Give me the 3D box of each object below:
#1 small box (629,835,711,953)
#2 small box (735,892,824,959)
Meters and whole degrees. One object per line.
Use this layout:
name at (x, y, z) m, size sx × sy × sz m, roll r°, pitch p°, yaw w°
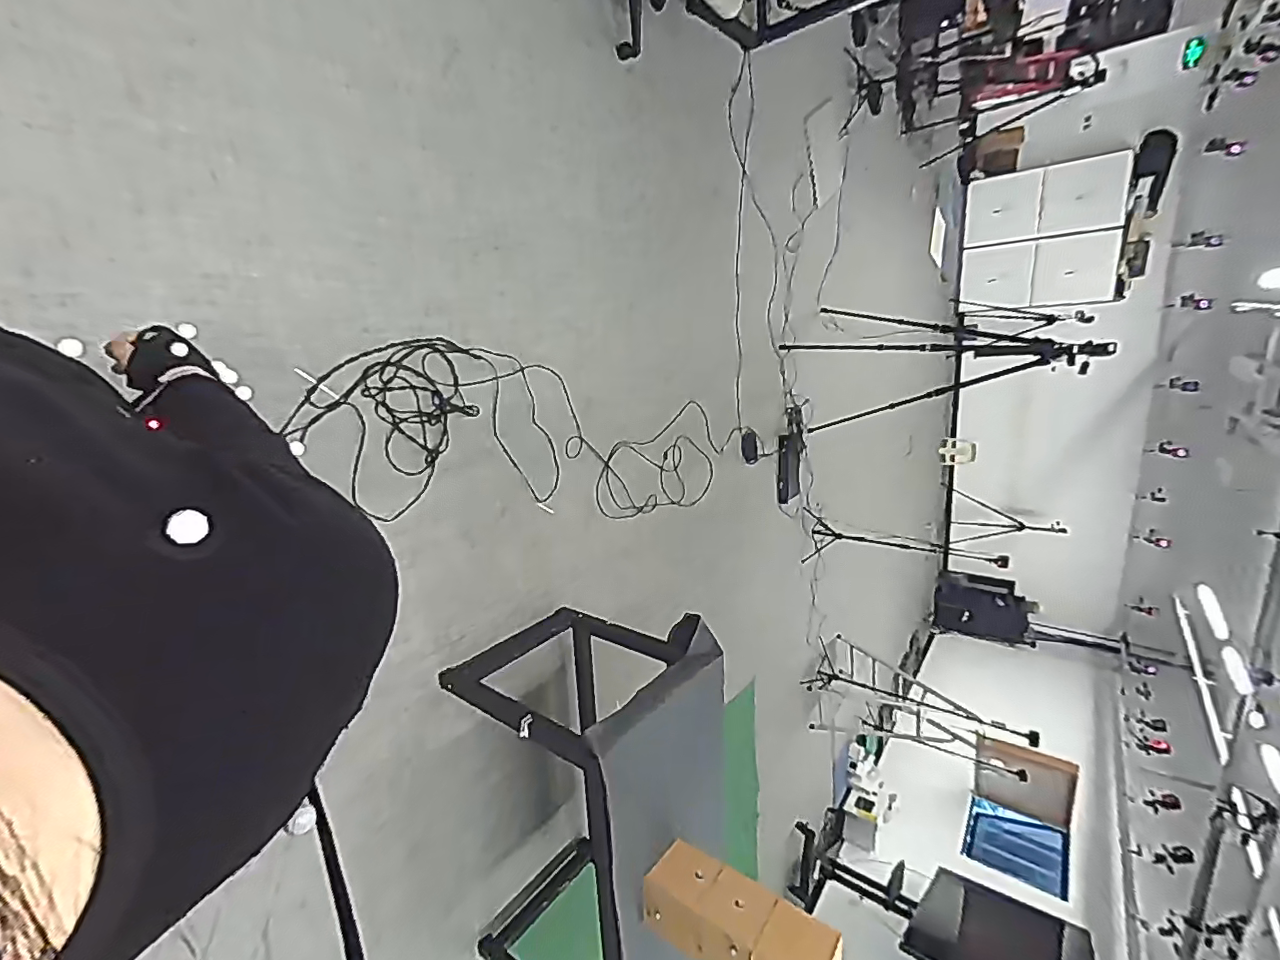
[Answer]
small box at (0.086, 1.174, 1.553) m, size 0.179 × 0.176 × 0.168 m, roll -12°, pitch 105°, yaw -52°
small box at (0.350, 1.205, 1.363) m, size 0.179 × 0.176 × 0.168 m, roll -19°, pitch 111°, yaw -51°
